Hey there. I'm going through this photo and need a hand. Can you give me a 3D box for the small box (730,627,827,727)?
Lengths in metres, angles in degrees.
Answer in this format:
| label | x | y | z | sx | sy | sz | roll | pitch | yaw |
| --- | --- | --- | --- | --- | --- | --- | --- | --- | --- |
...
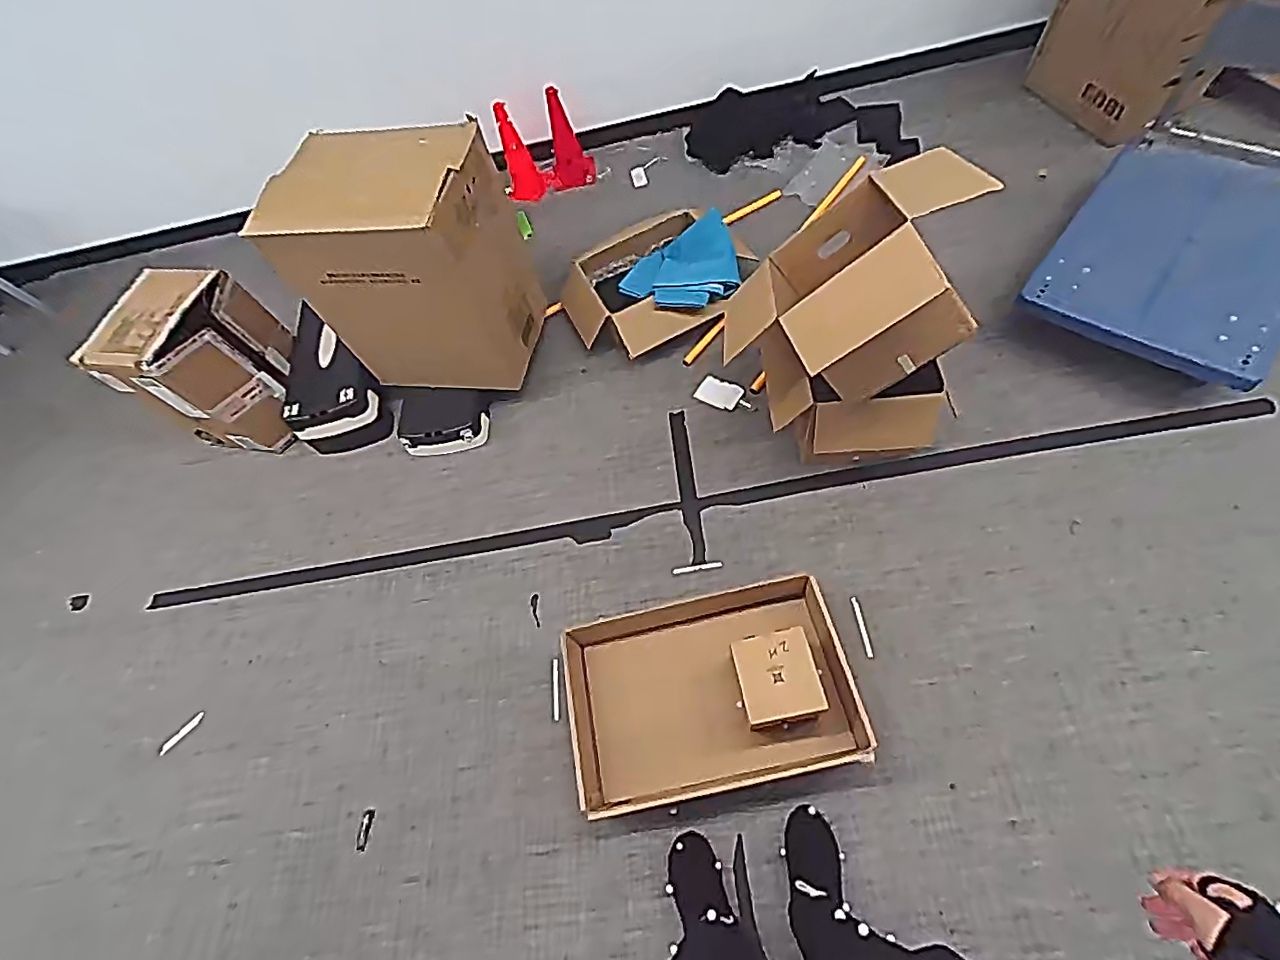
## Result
| label | x | y | z | sx | sy | sz | roll | pitch | yaw |
| --- | --- | --- | --- | --- | --- | --- | --- | --- | --- |
| small box | 0.306 | 0.451 | 1.218 | 0.168 | 0.176 | 0.179 | -13 | 60 | 3 |
